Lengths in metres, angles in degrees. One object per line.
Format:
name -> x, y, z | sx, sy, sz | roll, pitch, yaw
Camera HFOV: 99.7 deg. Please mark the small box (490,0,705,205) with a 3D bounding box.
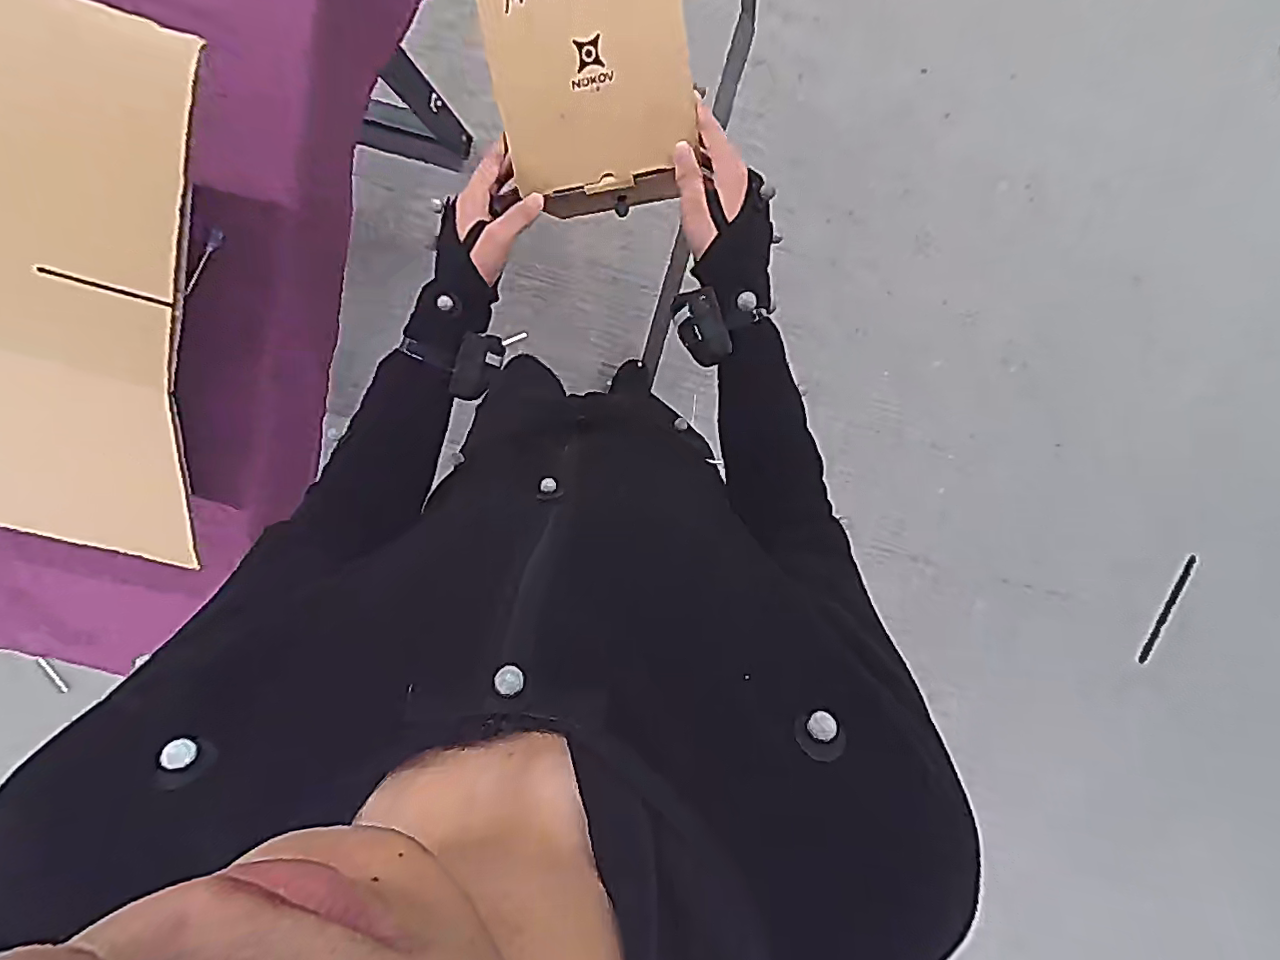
small box -> -0.026, -0.374, 0.521 | 0.168, 0.176, 0.179 | -6, 111, 8
